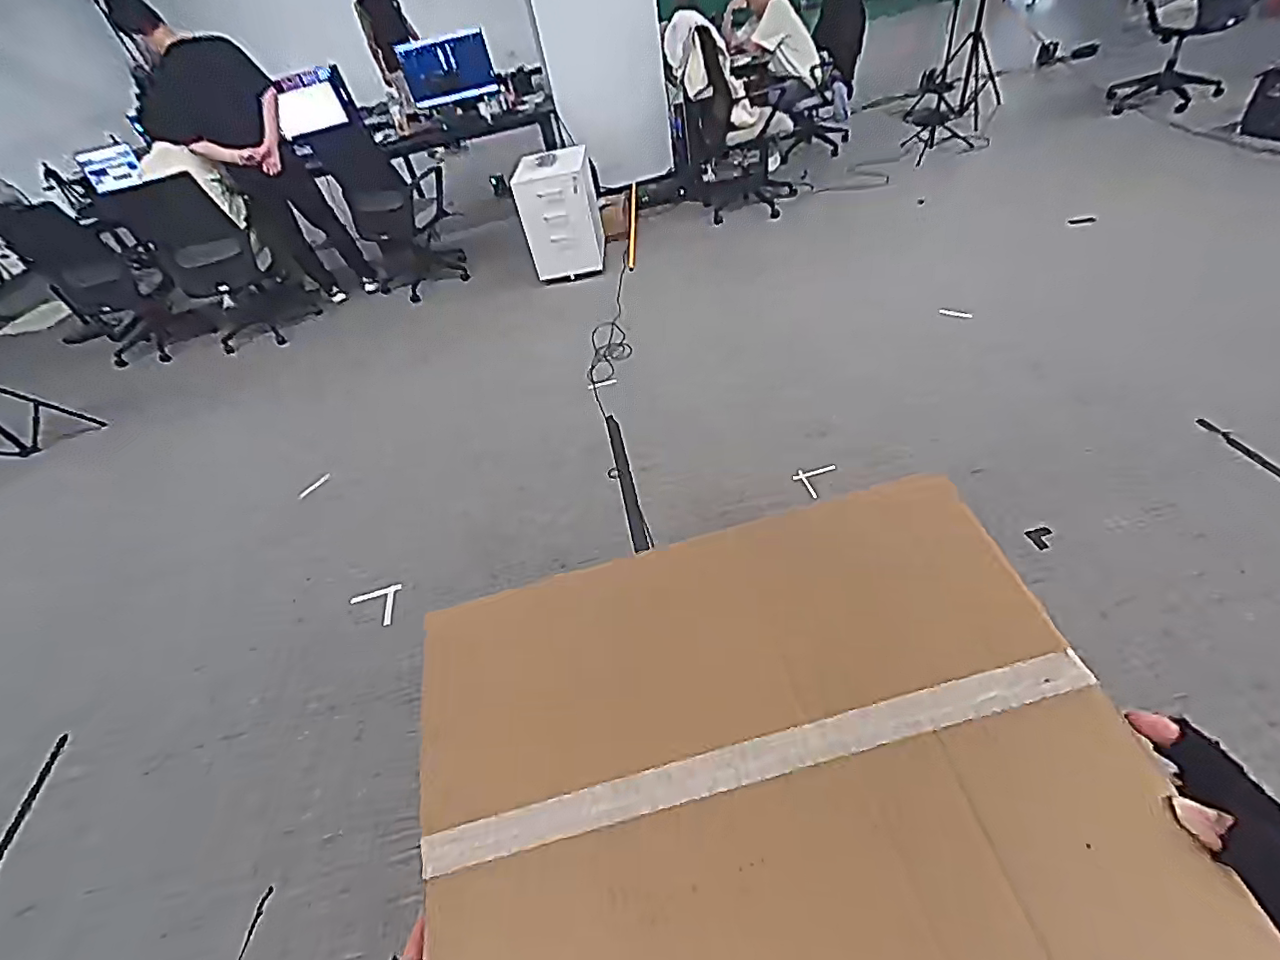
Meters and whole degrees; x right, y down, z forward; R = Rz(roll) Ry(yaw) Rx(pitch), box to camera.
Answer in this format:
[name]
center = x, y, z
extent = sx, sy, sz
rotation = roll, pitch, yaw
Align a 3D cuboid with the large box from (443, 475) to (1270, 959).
[large box]
center = 0.093, 0.254, 0.454
extent = 0.408, 0.320, 0.320
rotation = -16, 54, -1
